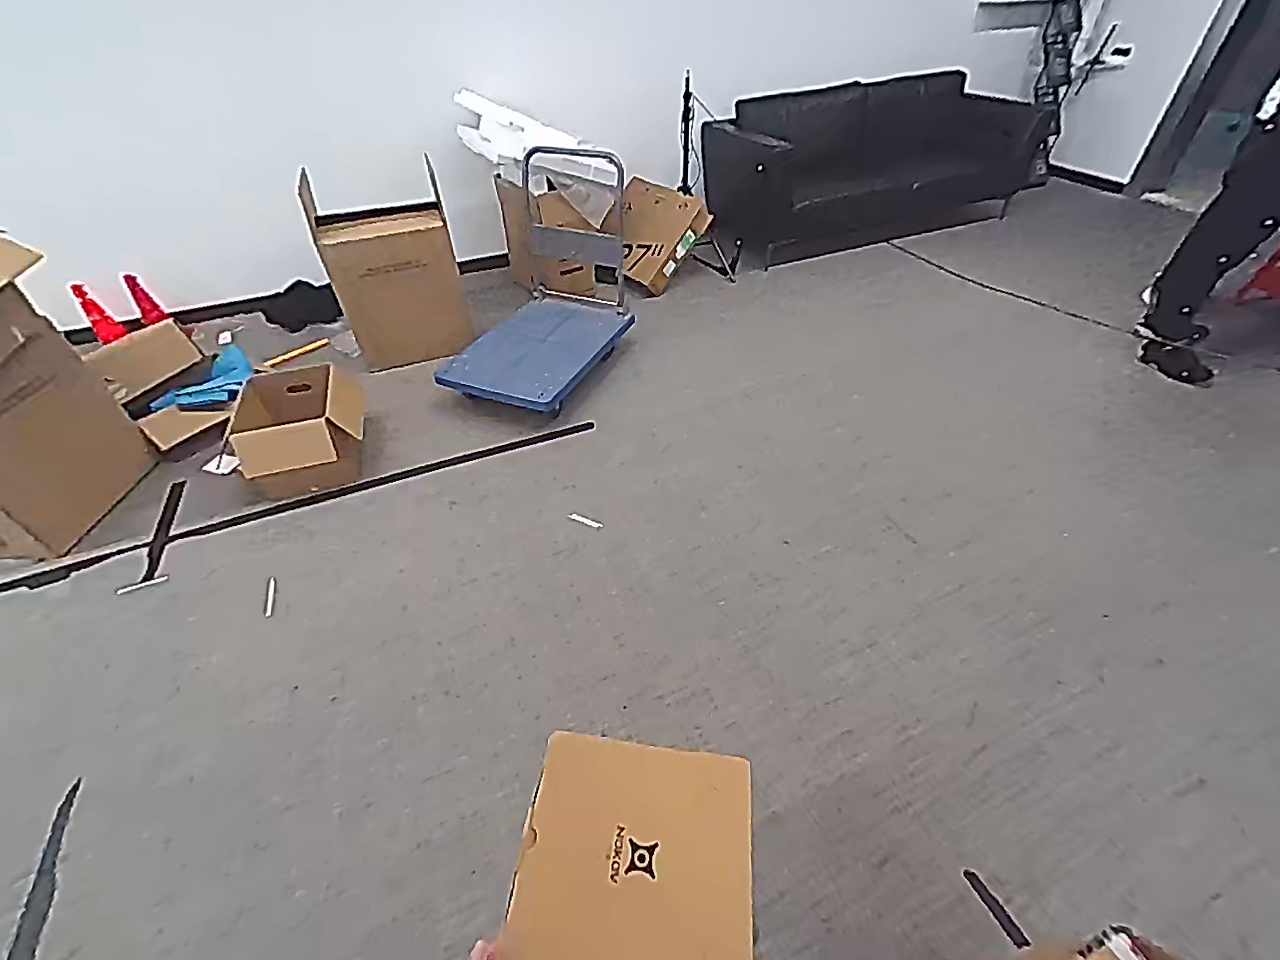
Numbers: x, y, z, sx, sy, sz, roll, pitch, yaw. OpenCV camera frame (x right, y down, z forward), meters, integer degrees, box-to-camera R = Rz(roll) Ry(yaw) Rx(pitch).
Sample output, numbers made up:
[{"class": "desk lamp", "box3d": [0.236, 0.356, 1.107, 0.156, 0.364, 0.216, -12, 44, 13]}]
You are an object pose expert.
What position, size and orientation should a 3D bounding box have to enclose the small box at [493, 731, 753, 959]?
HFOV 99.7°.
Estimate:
[{"class": "small box", "box3d": [-0.003, 0.341, 0.462, 0.179, 0.176, 0.168, 5, 43, 6]}]
